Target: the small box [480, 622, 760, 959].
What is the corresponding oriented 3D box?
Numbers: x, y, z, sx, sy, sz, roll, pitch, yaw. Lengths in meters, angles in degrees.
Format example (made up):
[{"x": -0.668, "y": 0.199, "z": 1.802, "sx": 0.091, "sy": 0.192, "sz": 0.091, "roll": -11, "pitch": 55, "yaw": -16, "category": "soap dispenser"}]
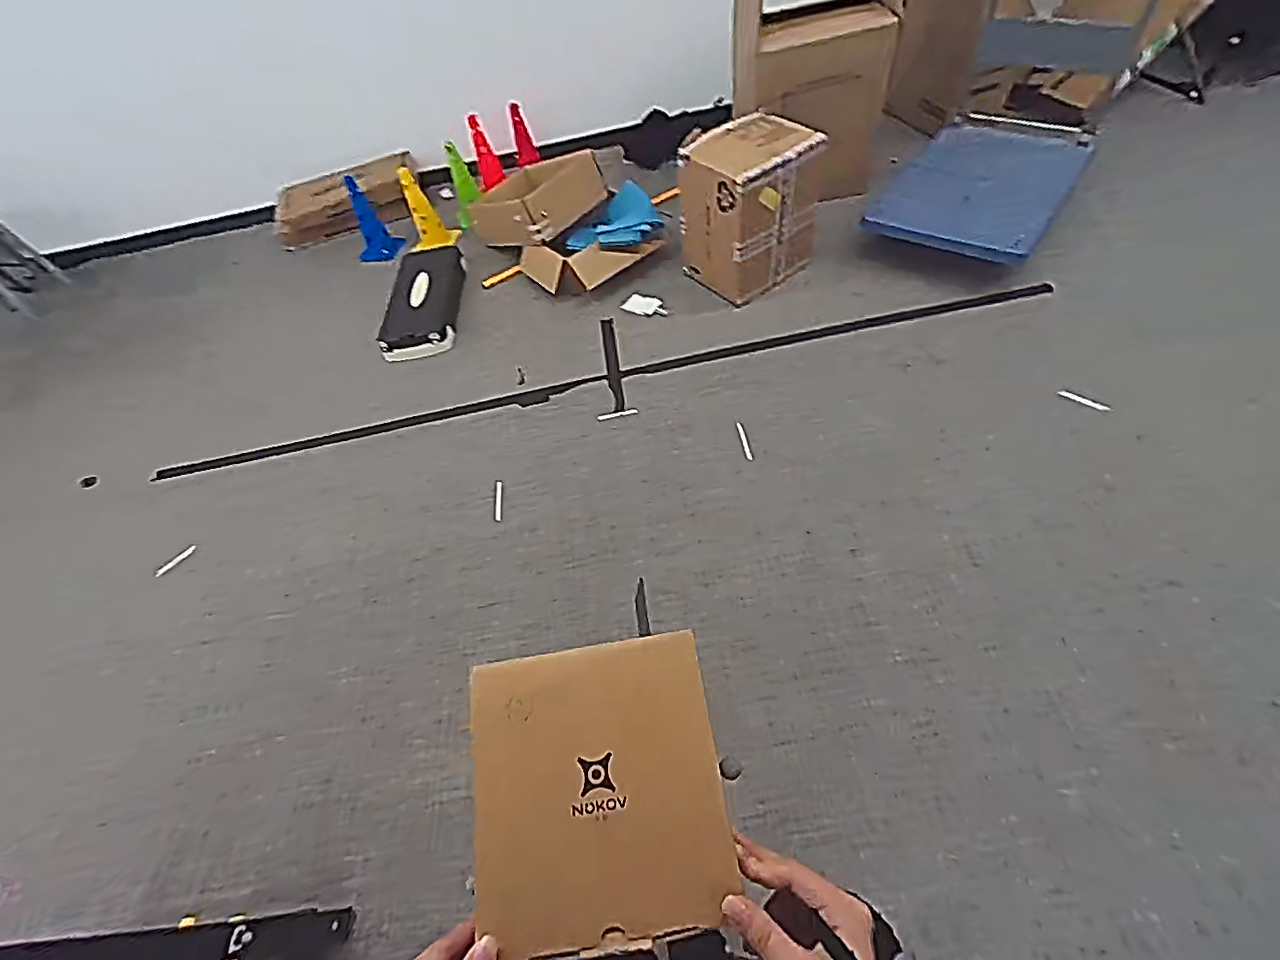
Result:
[{"x": -0.020, "y": 0.225, "z": 0.422, "sx": 0.168, "sy": 0.176, "sz": 0.179, "roll": -9, "pitch": 65, "yaw": -2, "category": "small box"}]
